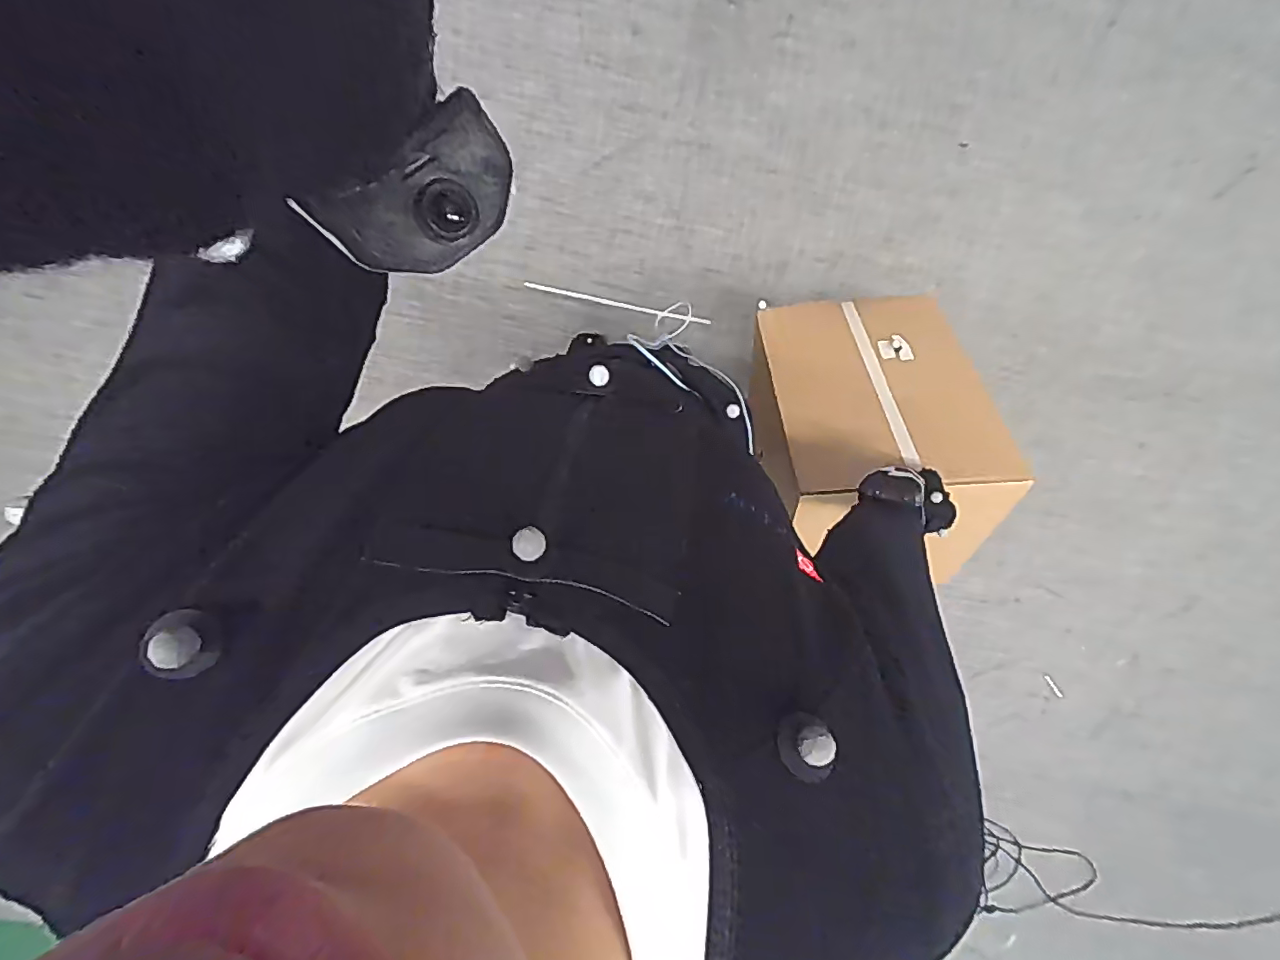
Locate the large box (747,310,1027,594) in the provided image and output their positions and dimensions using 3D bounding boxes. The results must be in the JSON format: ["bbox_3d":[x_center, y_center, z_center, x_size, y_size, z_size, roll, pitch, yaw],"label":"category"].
[{"bbox_3d":[0.382,-0.048,0.973,0.320,0.408,0.320,-3,142,3],"label":"large box"}]
